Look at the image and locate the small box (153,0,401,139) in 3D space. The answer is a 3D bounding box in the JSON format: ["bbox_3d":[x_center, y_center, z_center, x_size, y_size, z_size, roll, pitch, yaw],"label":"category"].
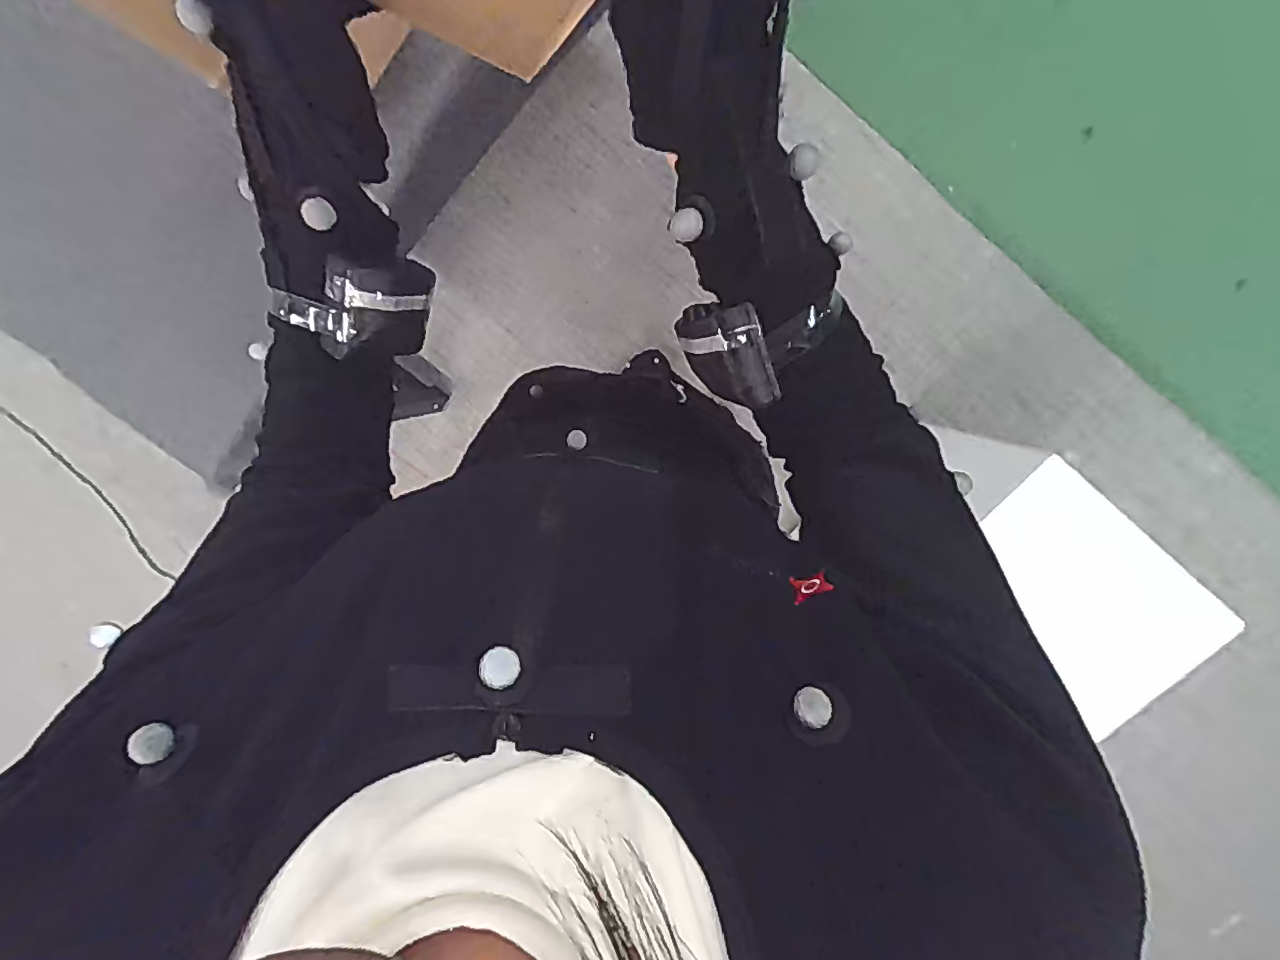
[{"bbox_3d":[-0.374,-0.484,0.528,0.168,0.176,0.179,42,103,-4],"label":"small box"}]
